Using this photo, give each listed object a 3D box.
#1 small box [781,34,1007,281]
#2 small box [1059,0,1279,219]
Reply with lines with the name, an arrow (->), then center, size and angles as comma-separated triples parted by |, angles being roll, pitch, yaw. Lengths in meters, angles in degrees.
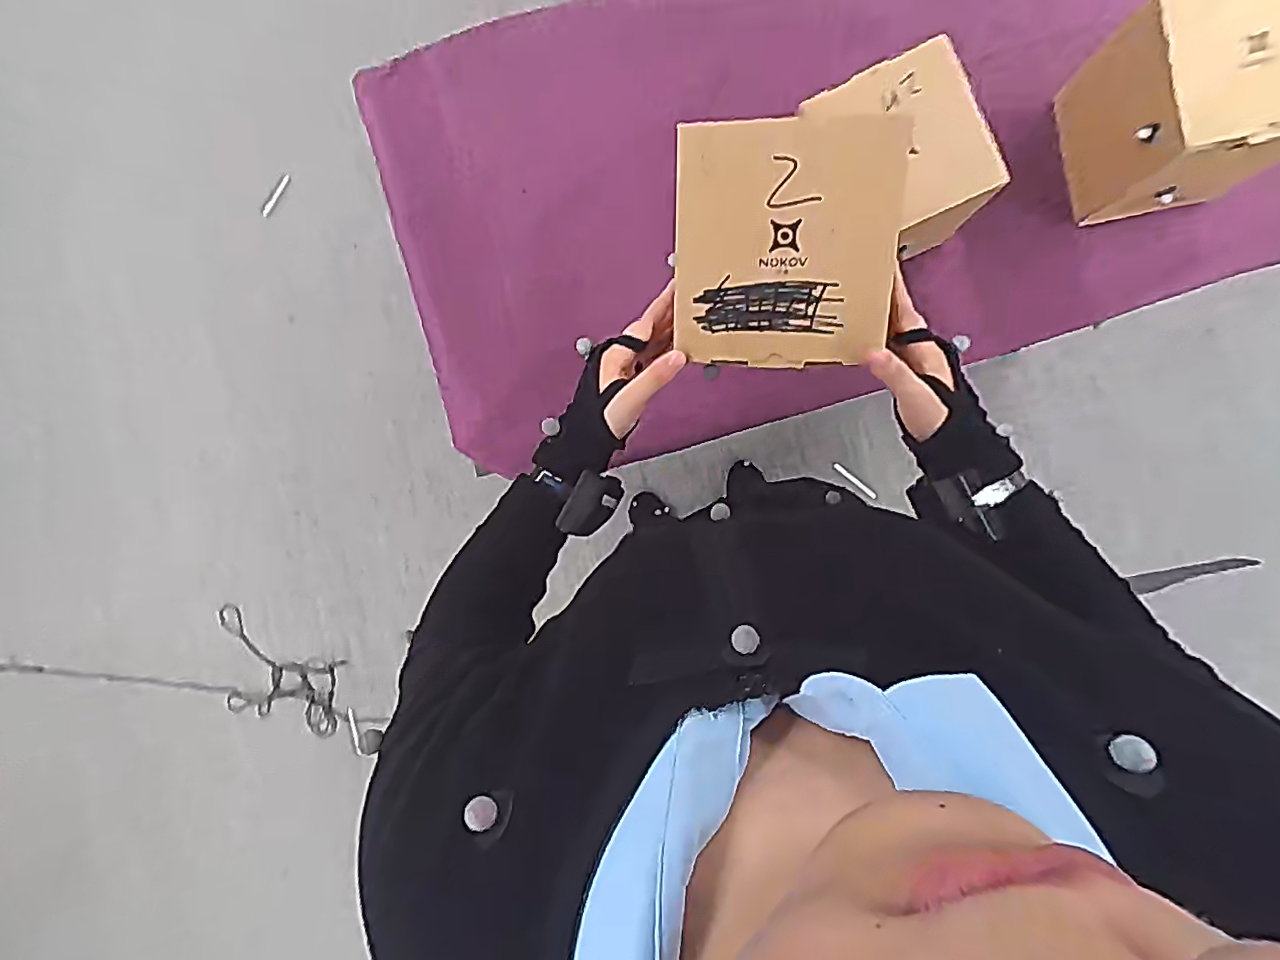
small box -> 0.289, -0.364, 0.656 | 0.168, 0.176, 0.179 | -23, 89, 6
small box -> 0.625, -0.435, 0.619 | 0.168, 0.176, 0.179 | -10, 90, 7
